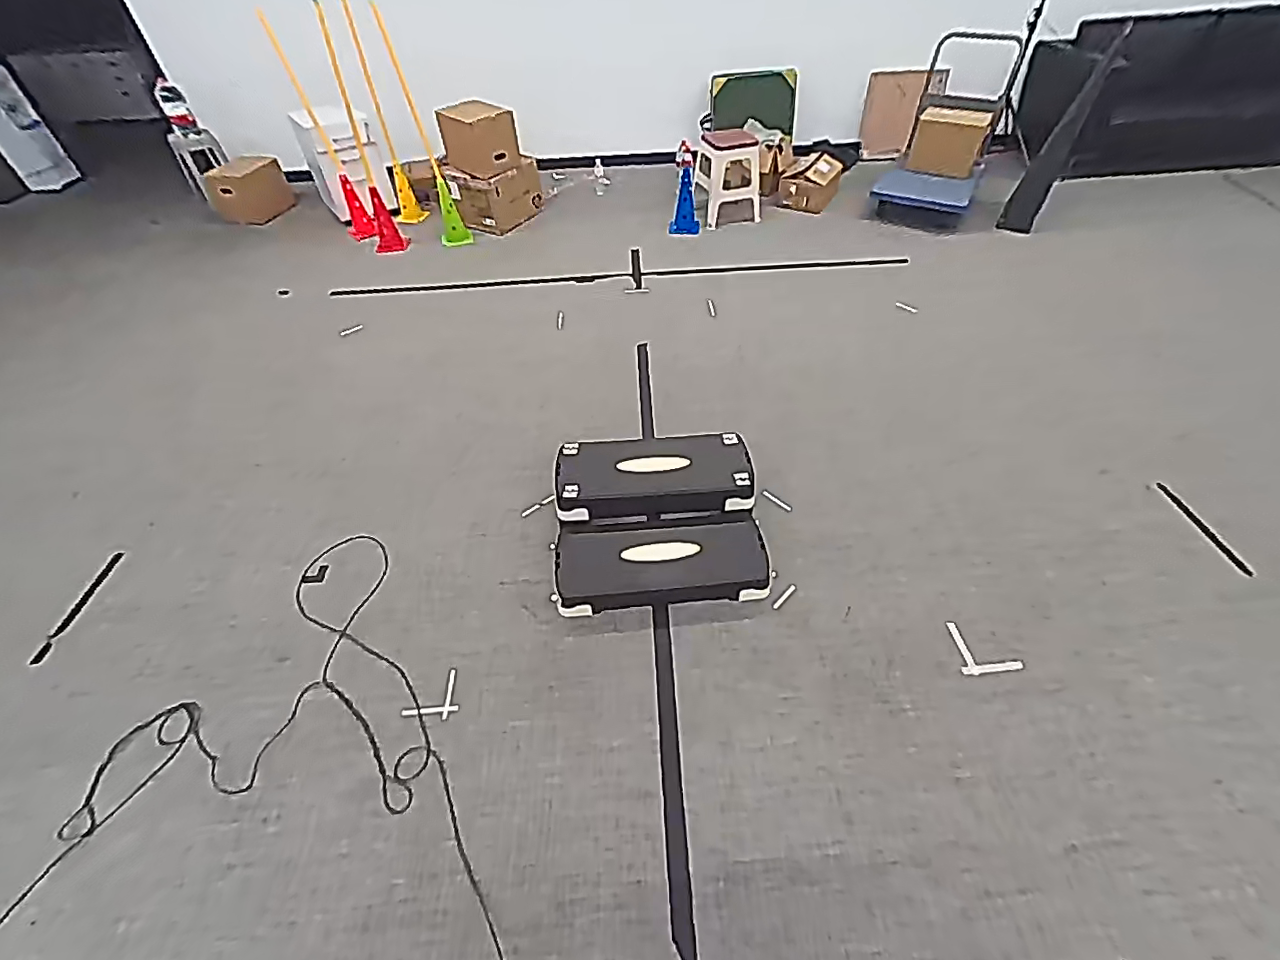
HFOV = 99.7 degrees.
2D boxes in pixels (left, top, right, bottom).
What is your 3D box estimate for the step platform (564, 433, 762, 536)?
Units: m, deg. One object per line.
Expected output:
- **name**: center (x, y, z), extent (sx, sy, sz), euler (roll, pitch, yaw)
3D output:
- **step platform**: center (0.078, 0.008, 1.900), extent (0.684, 0.204, 0.286), euler (-4, 47, -3)
